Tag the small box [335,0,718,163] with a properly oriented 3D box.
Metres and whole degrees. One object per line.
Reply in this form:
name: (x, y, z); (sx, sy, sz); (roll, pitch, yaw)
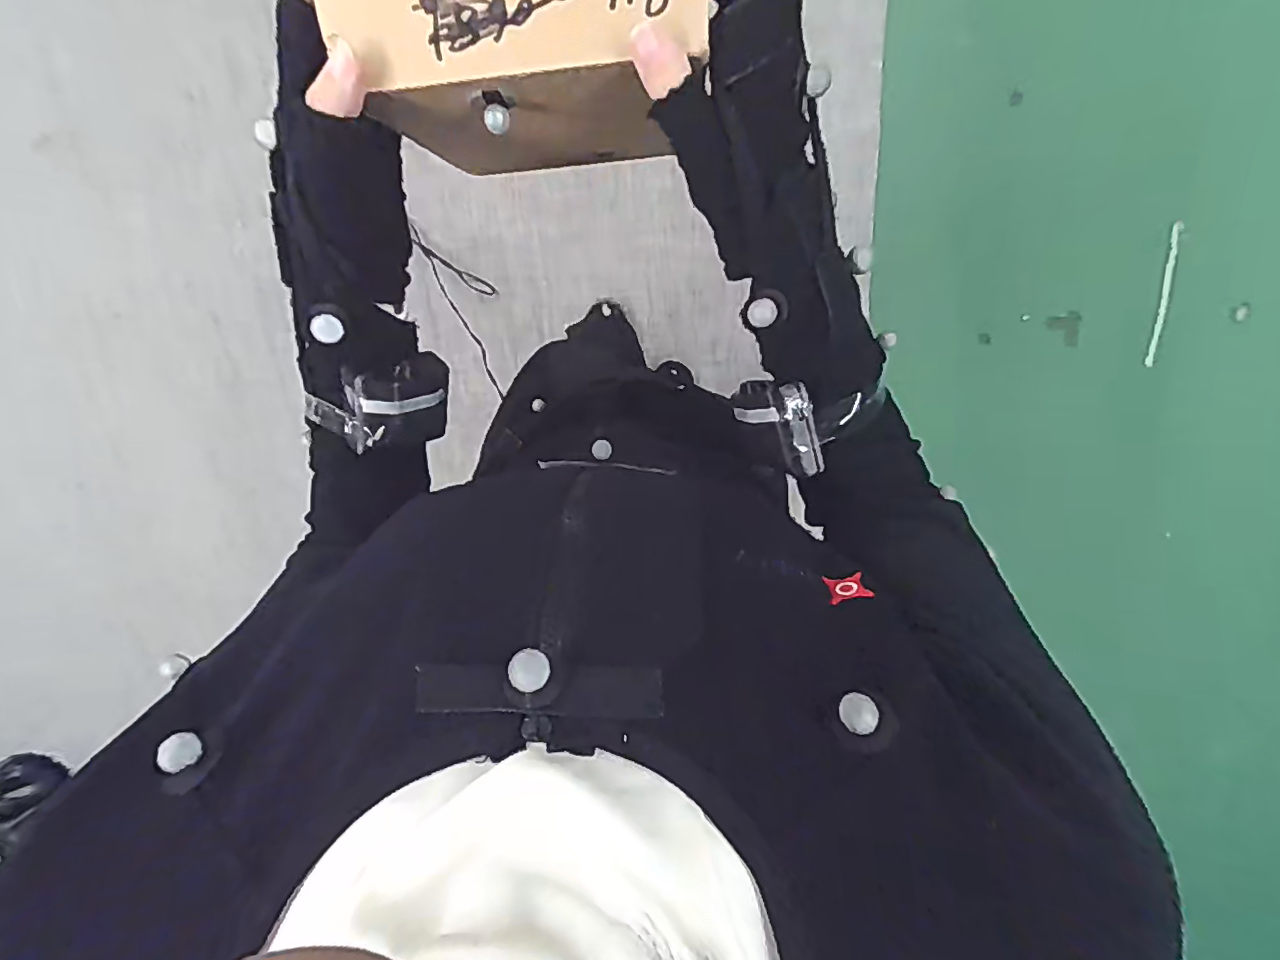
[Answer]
small box: (-0.056, -0.294, 0.286); (0.168, 0.176, 0.179); (-7, 109, 3)
